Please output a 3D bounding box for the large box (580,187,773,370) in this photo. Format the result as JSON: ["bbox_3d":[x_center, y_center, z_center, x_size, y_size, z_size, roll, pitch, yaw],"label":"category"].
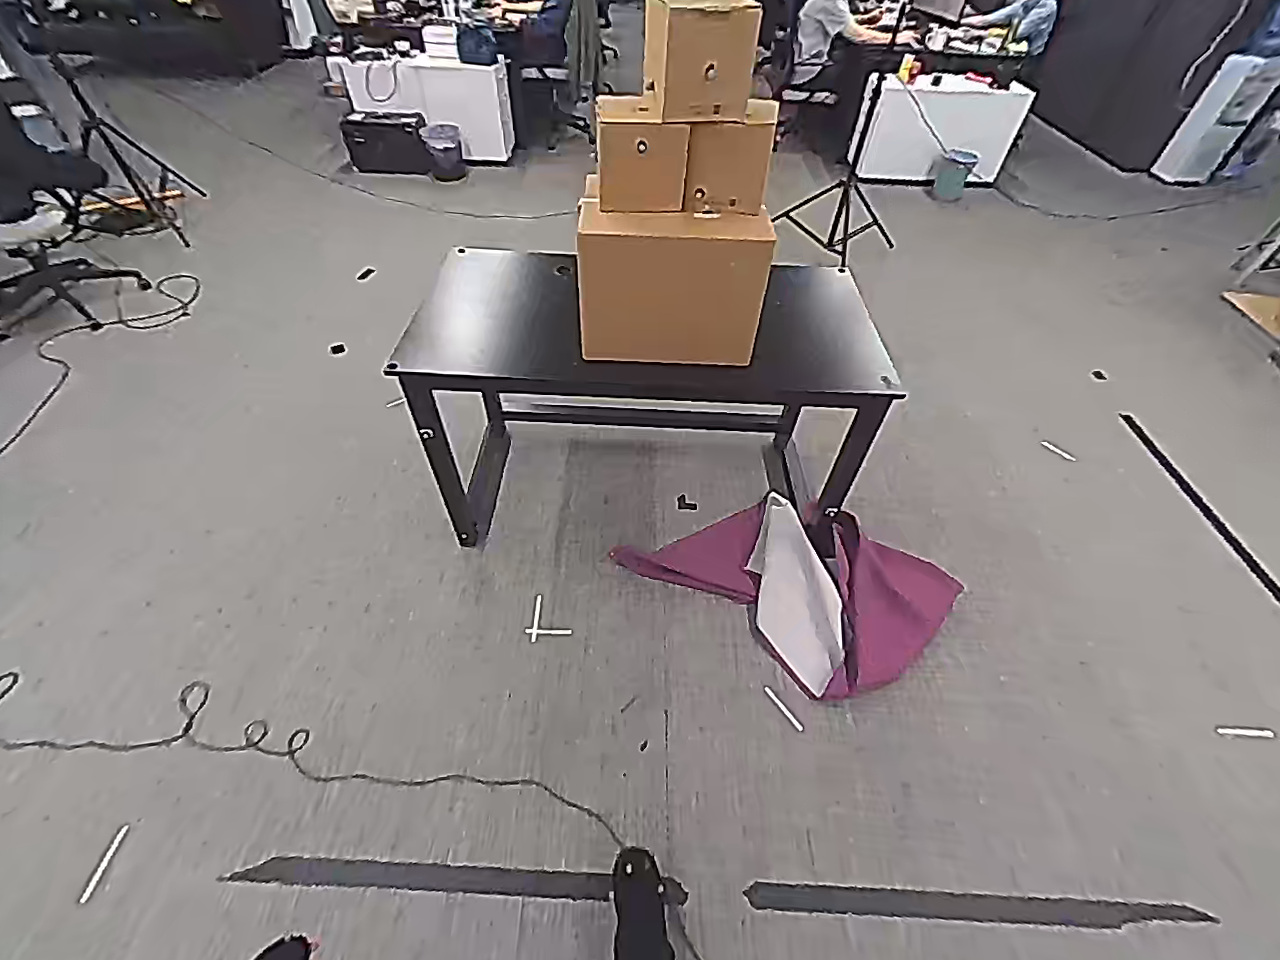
[{"bbox_3d":[0.064,-0.480,1.298,0.408,0.320,0.320,2,48,-3],"label":"large box"}]

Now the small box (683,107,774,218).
[{"bbox_3d":[0.186,-0.679,1.155,0.168,0.176,0.179,10,47,6],"label":"small box"}]

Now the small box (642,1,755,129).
[{"bbox_3d":[0.102,-0.785,1.027,0.168,0.176,0.179,-8,49,-10],"label":"small box"}]
